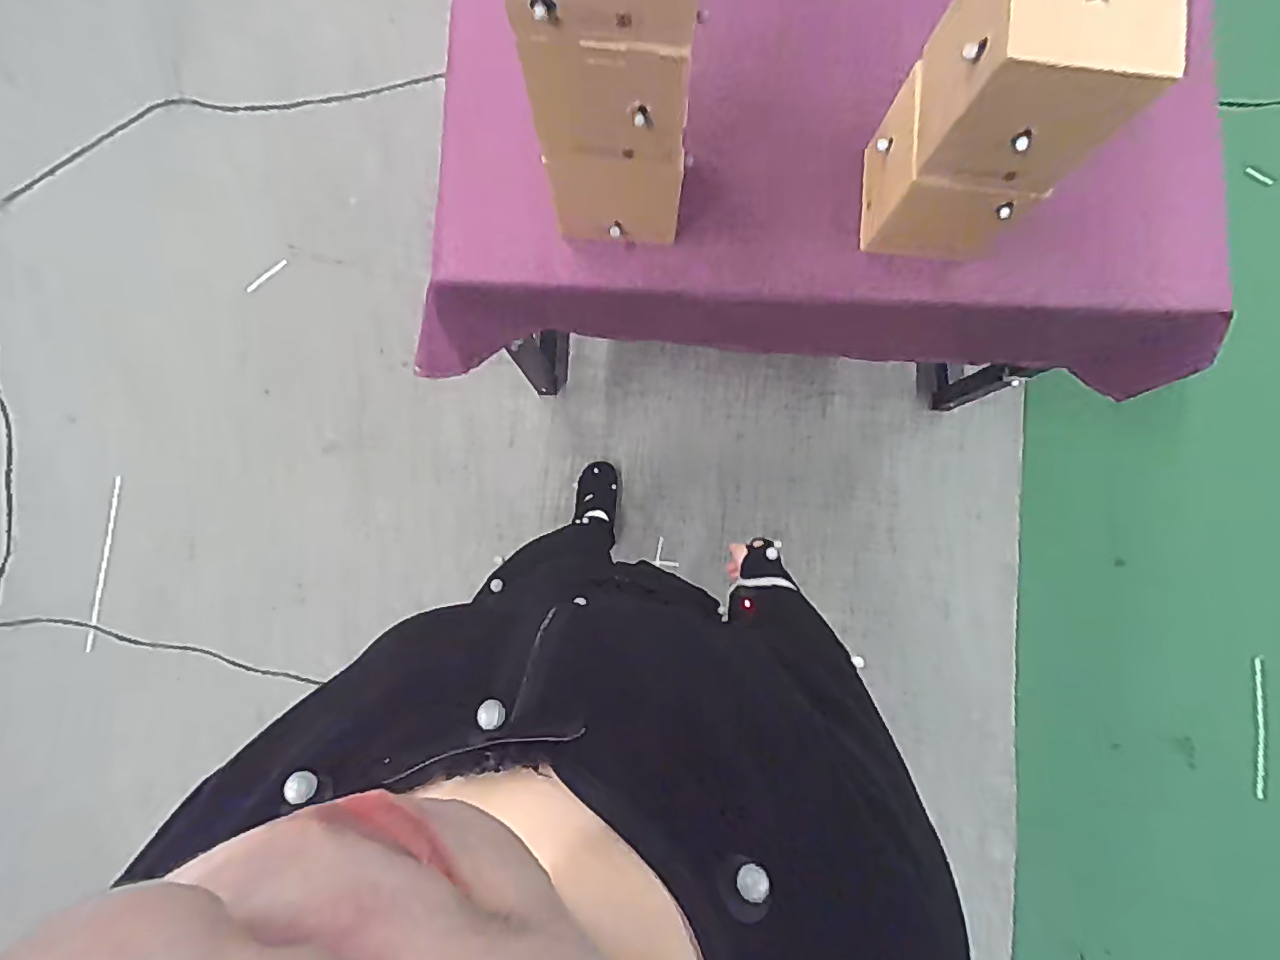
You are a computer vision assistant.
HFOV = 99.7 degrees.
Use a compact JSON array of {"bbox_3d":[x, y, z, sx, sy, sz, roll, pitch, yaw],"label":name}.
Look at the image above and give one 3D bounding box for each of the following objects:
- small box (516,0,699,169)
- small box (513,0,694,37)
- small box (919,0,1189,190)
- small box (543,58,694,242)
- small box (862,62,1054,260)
[{"bbox_3d":[-0.025,-0.474,0.585,0.168,0.176,0.179,7,84,0],"label":"small box"},{"bbox_3d":[-0.030,-0.497,0.423,0.168,0.176,0.179,3,83,-1],"label":"small box"},{"bbox_3d":[0.425,-0.447,0.582,0.168,0.176,0.179,8,84,0],"label":"small box"},{"bbox_3d":[-0.027,-0.452,0.748,0.179,0.176,0.168,5,84,0],"label":"small box"},{"bbox_3d":[0.425,-0.425,0.746,0.179,0.176,0.168,6,84,0],"label":"small box"}]
